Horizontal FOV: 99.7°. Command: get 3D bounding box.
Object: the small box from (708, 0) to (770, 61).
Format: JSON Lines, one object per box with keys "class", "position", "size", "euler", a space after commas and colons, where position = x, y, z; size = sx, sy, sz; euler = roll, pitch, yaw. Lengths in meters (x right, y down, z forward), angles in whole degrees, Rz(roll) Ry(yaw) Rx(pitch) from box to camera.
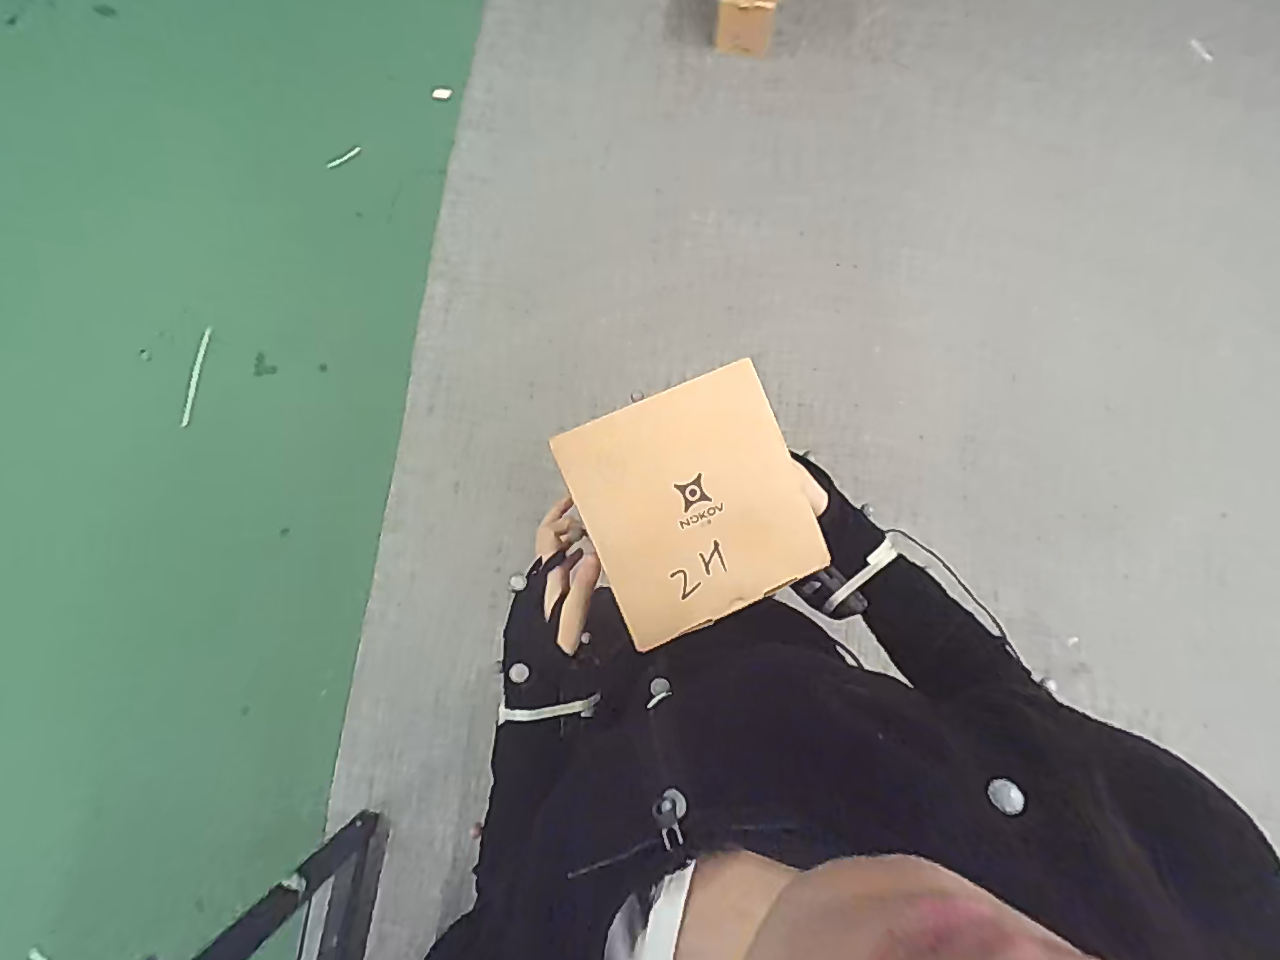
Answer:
{"class": "small box", "position": [0.310, -1.457, 1.673], "size": [0.168, 0.176, 0.179], "euler": [12, 83, 3]}
